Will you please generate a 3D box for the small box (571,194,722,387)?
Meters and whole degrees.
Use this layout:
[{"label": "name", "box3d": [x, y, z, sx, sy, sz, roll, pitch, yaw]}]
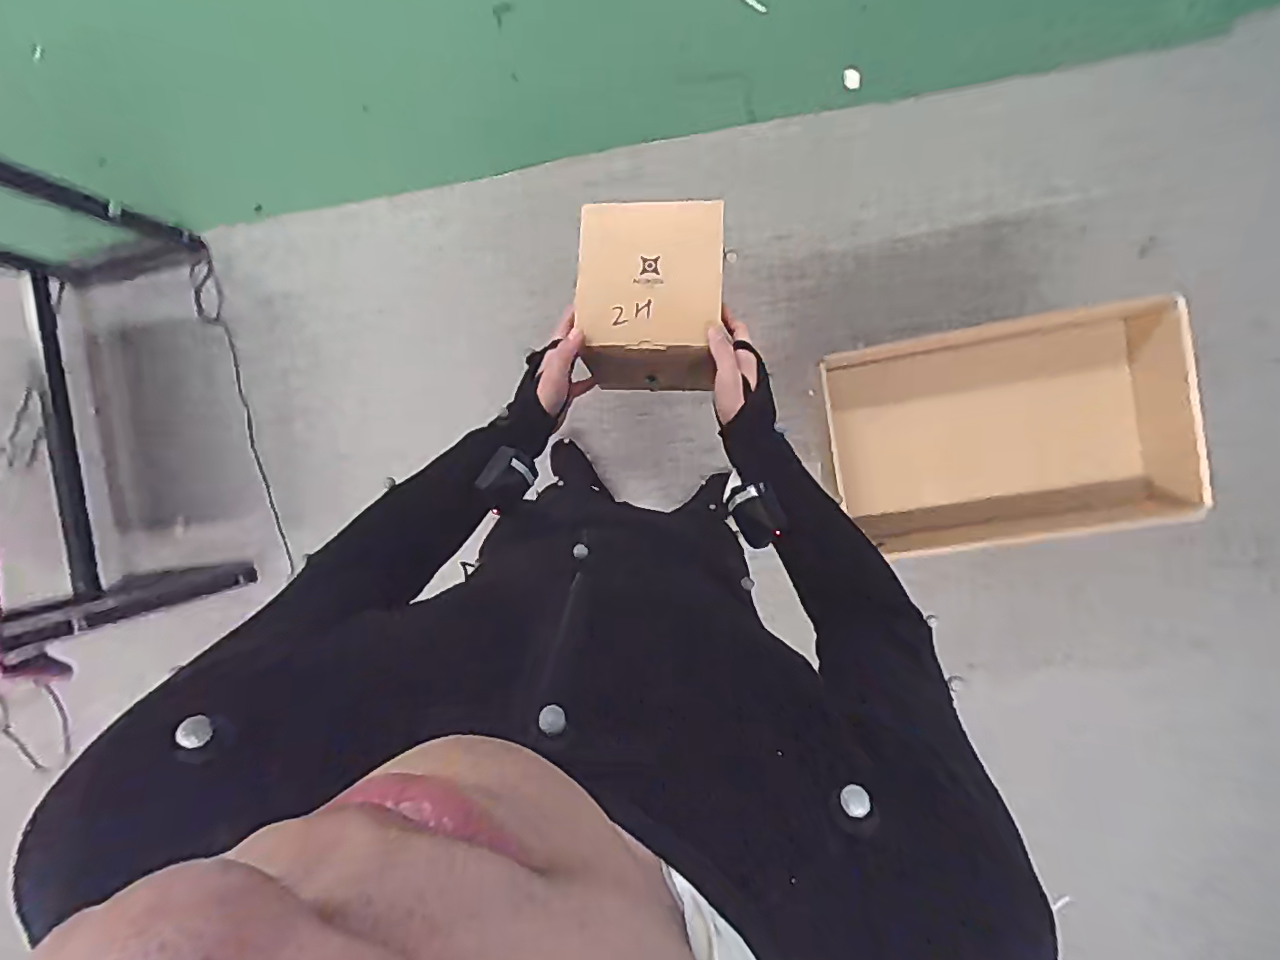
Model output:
[{"label": "small box", "box3d": [0.015, -0.226, 0.679, 0.168, 0.176, 0.179, 1, 84, 7]}]
